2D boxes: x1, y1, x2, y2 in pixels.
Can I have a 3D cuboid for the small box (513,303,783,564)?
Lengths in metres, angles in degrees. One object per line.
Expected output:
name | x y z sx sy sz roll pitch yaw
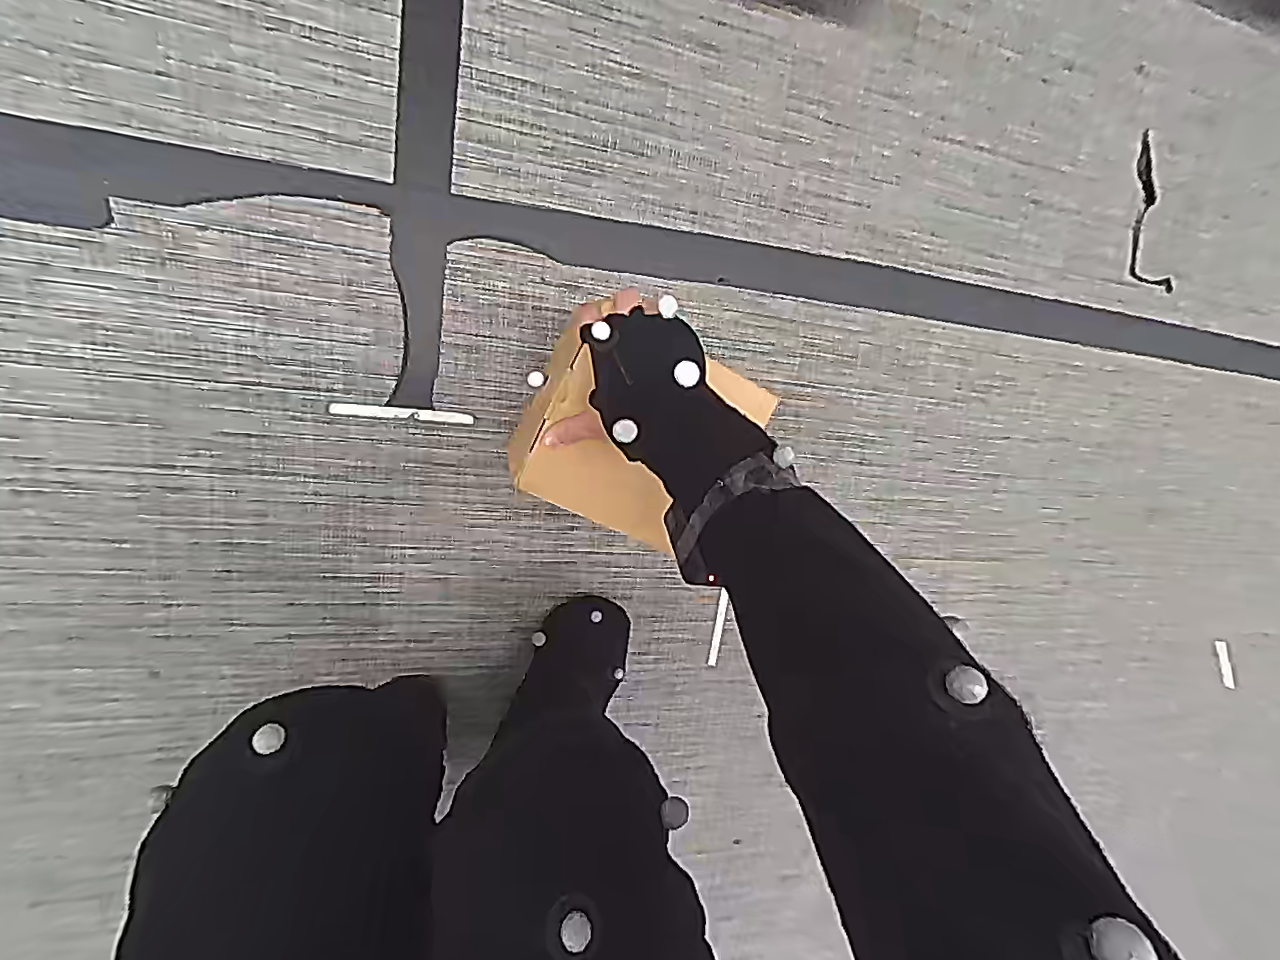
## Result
small box | -0.006 -0.050 0.521 0.179 0.176 0.168 28 95 -20
